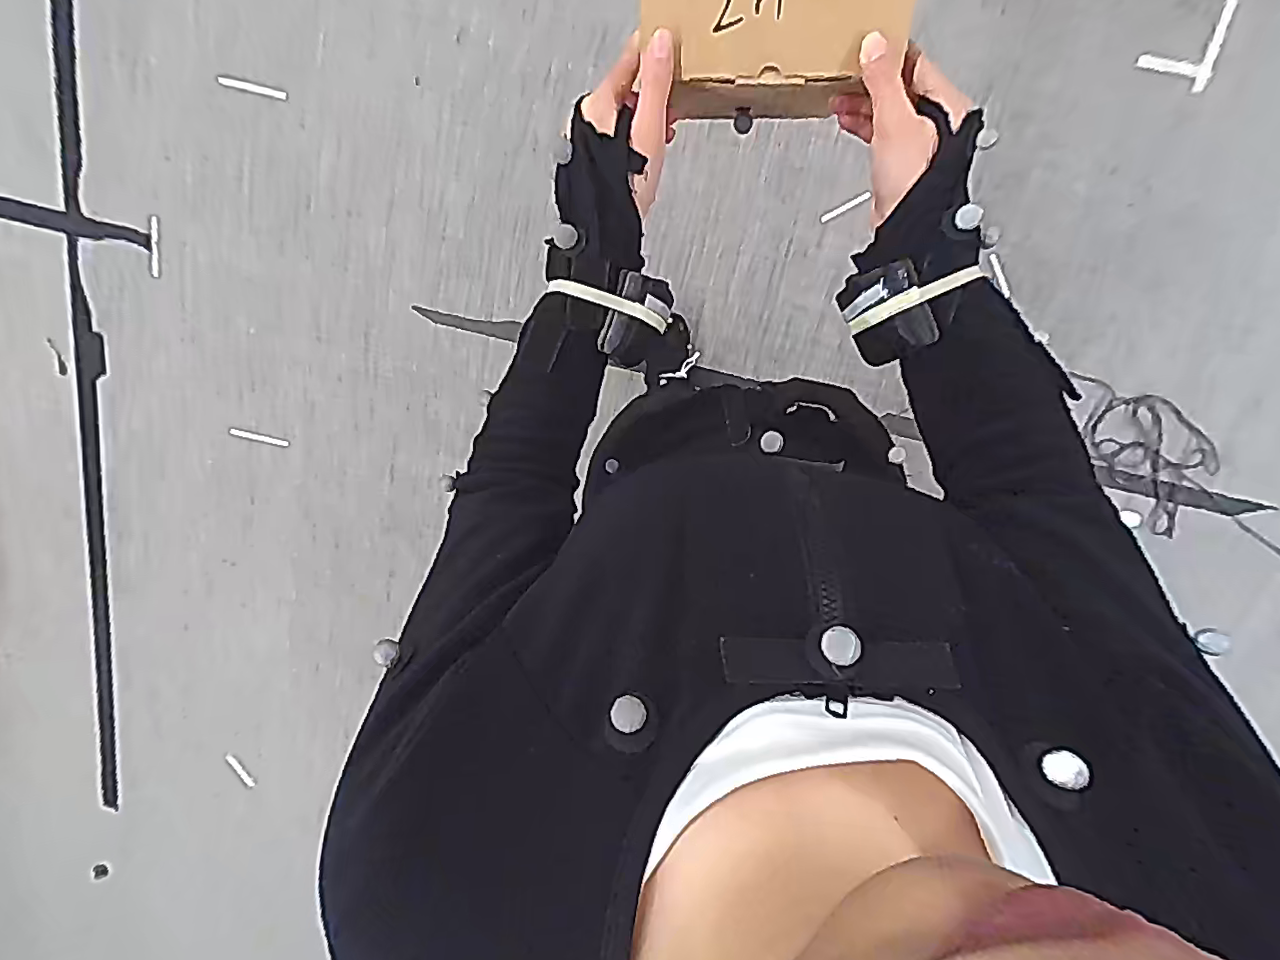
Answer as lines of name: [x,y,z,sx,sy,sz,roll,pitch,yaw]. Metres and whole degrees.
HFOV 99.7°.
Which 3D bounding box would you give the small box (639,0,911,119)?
small box: [0.083,-0.368,0.374,0.168,0.176,0.179,1,117,1]
